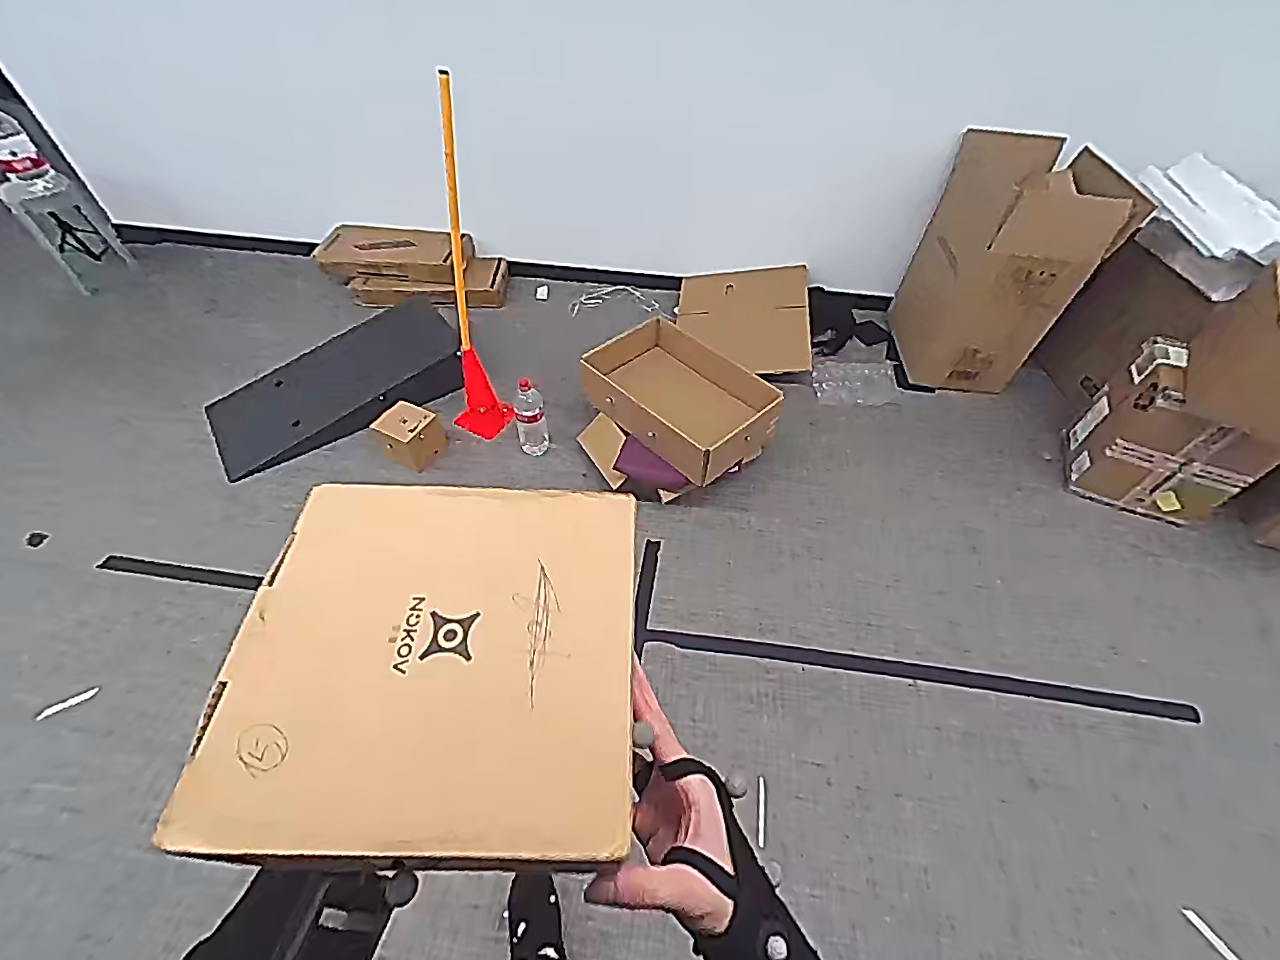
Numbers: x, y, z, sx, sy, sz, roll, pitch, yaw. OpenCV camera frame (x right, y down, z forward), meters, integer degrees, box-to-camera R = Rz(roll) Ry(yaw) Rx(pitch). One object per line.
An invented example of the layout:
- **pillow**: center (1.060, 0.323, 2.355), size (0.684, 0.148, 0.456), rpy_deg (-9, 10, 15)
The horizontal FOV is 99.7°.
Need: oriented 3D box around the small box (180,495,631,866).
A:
- **small box**: center (-0.095, 0.124, 0.320), size (0.179, 0.176, 0.168), rpy_deg (1, 53, -4)
